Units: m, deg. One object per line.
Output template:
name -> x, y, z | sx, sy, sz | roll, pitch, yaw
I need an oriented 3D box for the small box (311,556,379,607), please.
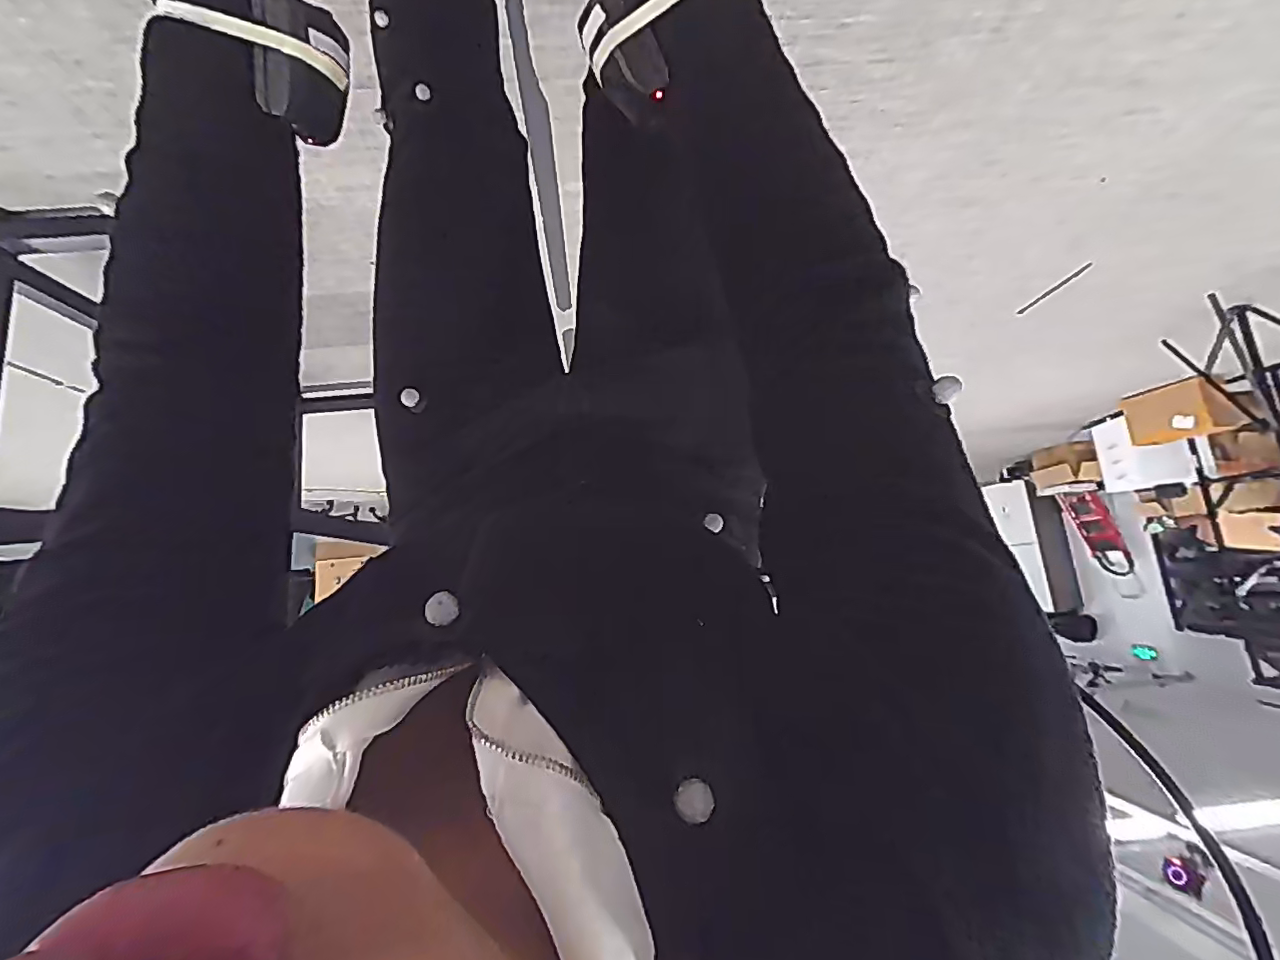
small box -> -1.085, 0.373, 1.991 | 0.168, 0.176, 0.179 | -5, 169, -3
